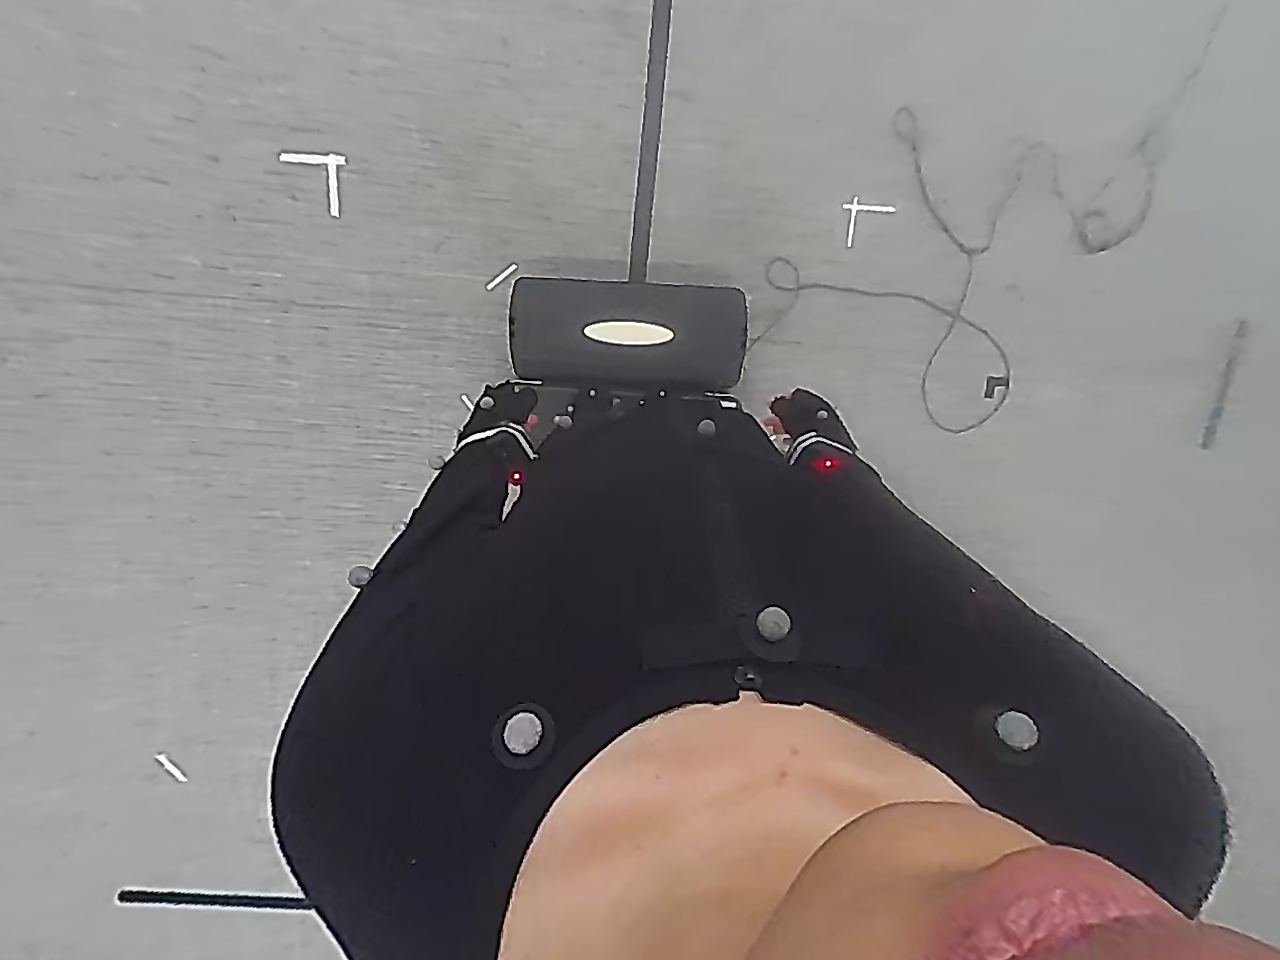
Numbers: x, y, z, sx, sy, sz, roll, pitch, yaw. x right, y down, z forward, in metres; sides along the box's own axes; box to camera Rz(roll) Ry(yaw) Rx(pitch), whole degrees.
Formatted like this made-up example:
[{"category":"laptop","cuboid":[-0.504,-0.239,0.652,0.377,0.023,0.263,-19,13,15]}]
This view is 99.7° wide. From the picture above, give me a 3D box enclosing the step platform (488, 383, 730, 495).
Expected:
[{"category":"step platform","cuboid":[-0.085,-0.118,1.556,0.684,0.204,0.286,3,100,-1]}]
